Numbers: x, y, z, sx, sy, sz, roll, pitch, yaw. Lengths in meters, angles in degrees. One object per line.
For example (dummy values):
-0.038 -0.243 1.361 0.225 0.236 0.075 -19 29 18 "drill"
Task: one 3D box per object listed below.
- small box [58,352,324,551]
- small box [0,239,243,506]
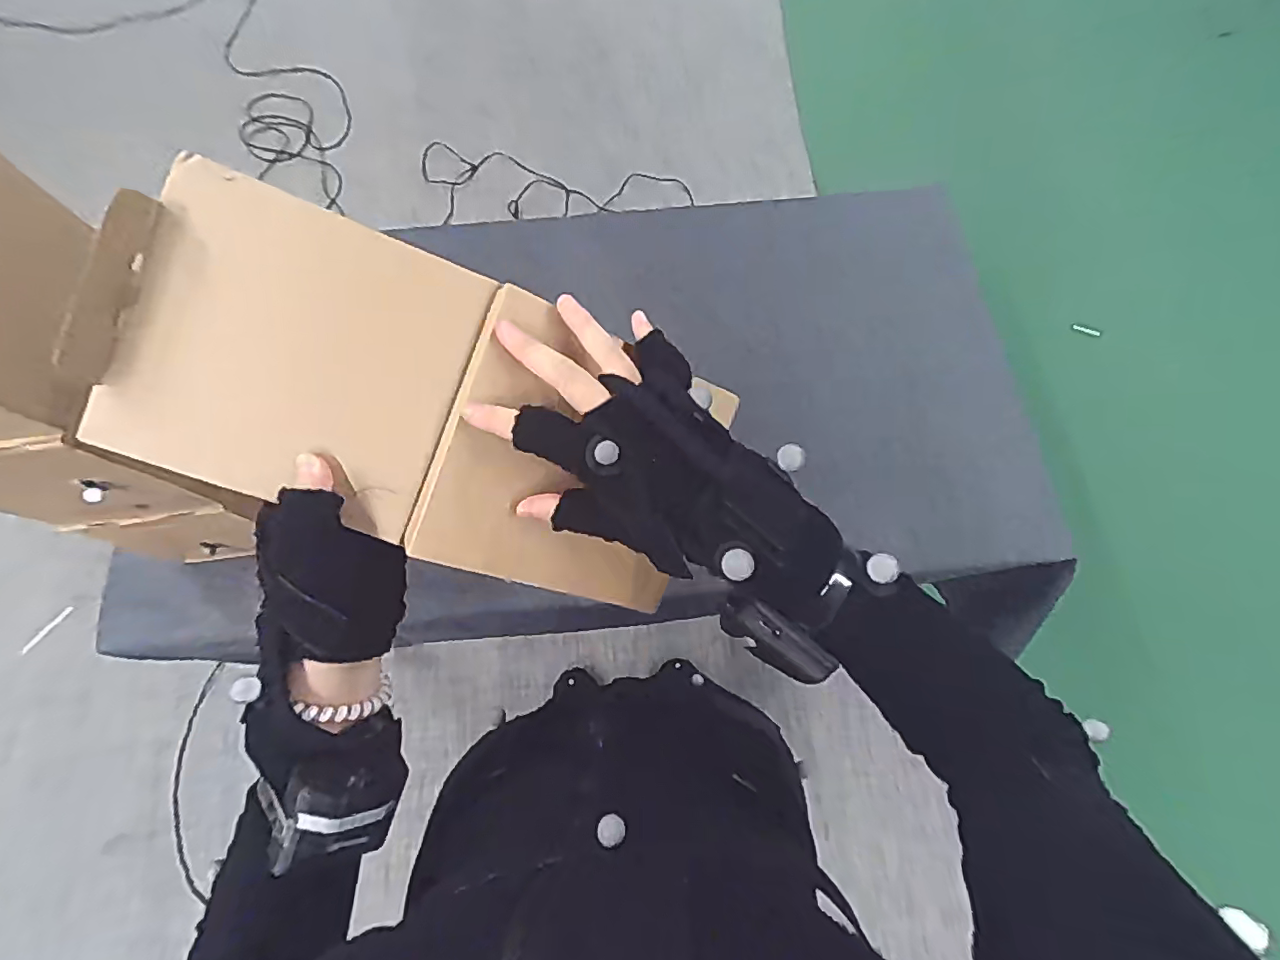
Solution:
-0.498 -0.025 0.634 0.168 0.176 0.179 -7 72 -3 "small box"
-0.496 -0.080 0.481 0.168 0.176 0.179 -6 72 -3 "small box"
